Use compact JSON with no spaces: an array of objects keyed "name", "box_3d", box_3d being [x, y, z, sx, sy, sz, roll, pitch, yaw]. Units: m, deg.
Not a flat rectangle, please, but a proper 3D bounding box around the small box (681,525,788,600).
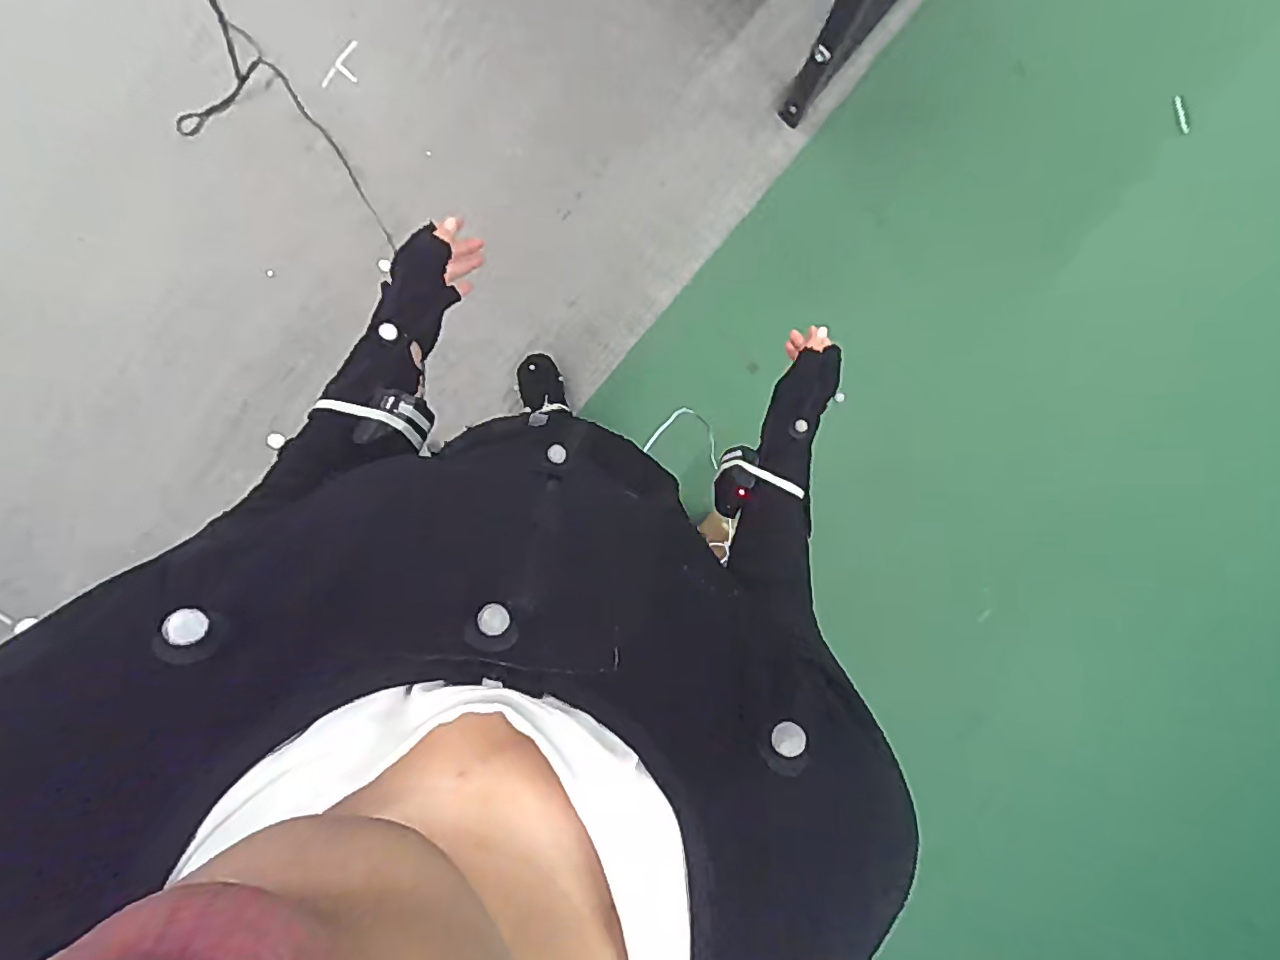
[{"name":"small box","box_3d":[0.209,0.228,1.260,0.168,0.176,0.179,41,97,-5]}]
